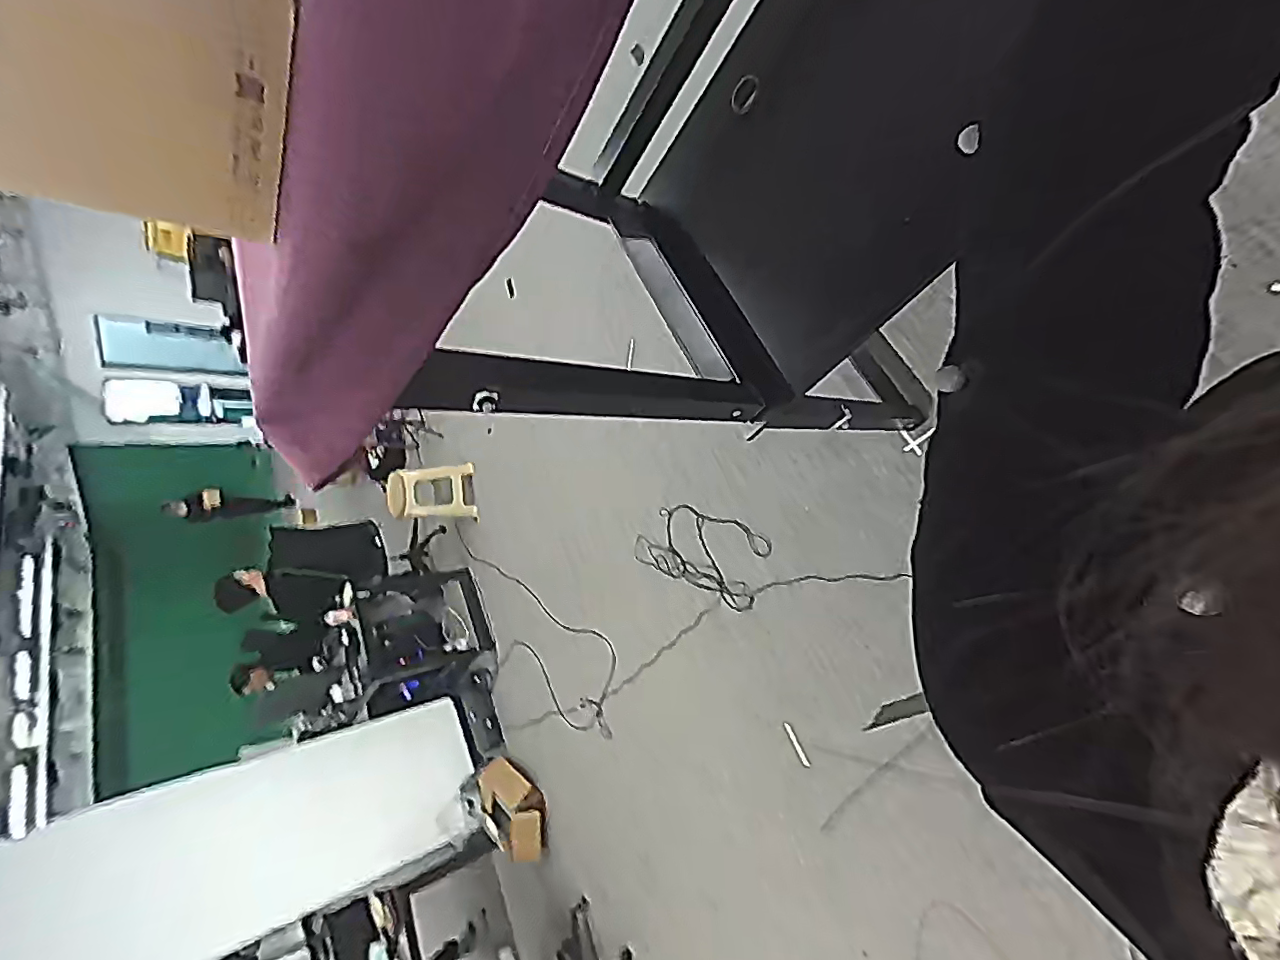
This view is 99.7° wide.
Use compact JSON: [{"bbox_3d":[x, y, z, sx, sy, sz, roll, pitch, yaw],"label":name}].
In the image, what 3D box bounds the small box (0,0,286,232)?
[{"bbox_3d":[-0.343,-0.288,0.345,0.168,0.176,0.179,-55,54,35],"label":"small box"}]
